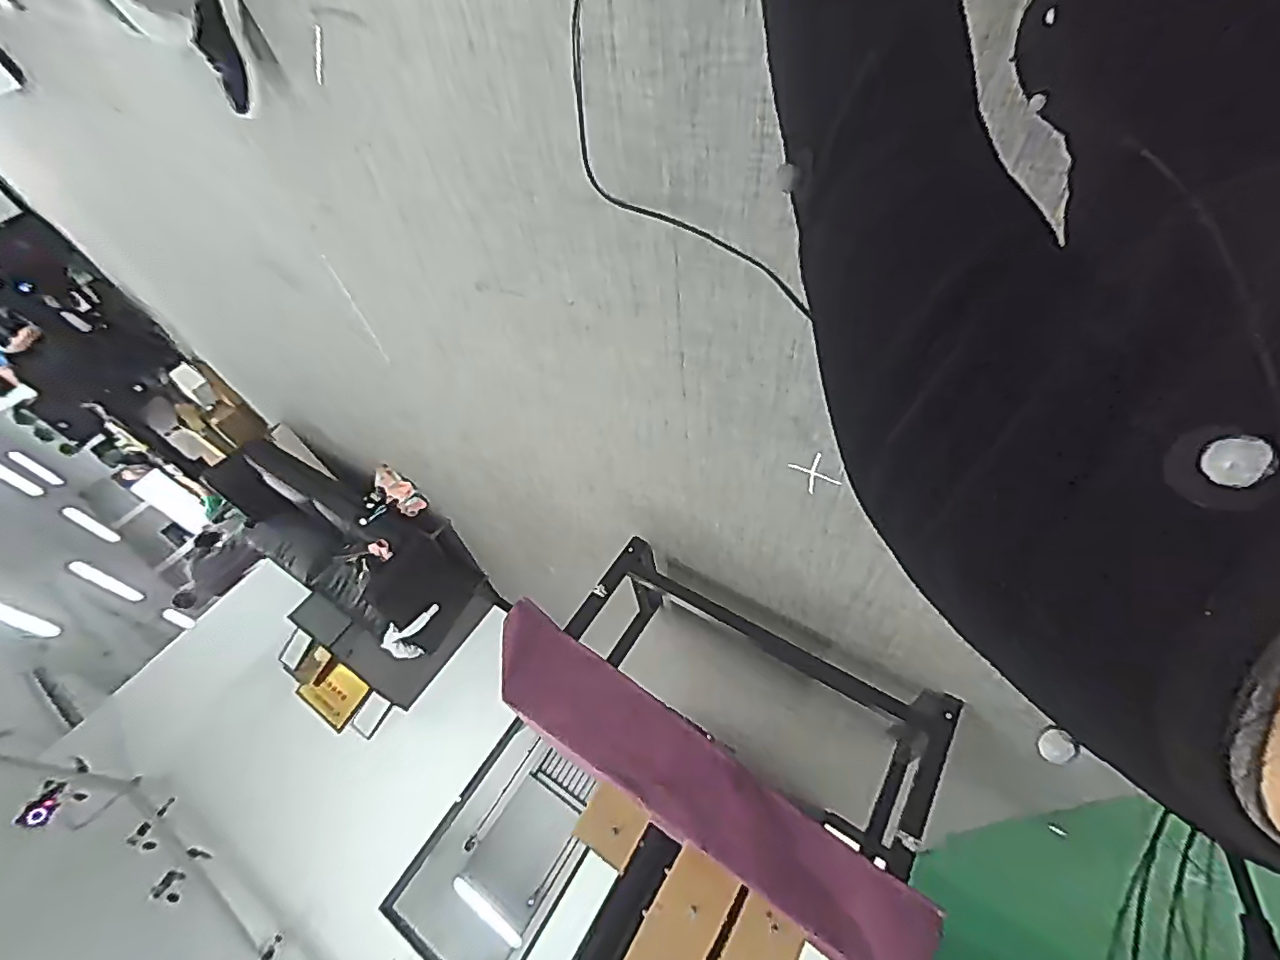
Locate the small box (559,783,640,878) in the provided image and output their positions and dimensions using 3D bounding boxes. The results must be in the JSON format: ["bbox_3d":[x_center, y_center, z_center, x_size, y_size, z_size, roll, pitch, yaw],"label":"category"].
[{"bbox_3d":[-0.113,1.028,1.593,0.179,0.176,0.168,28,149,17],"label":"small box"}]
